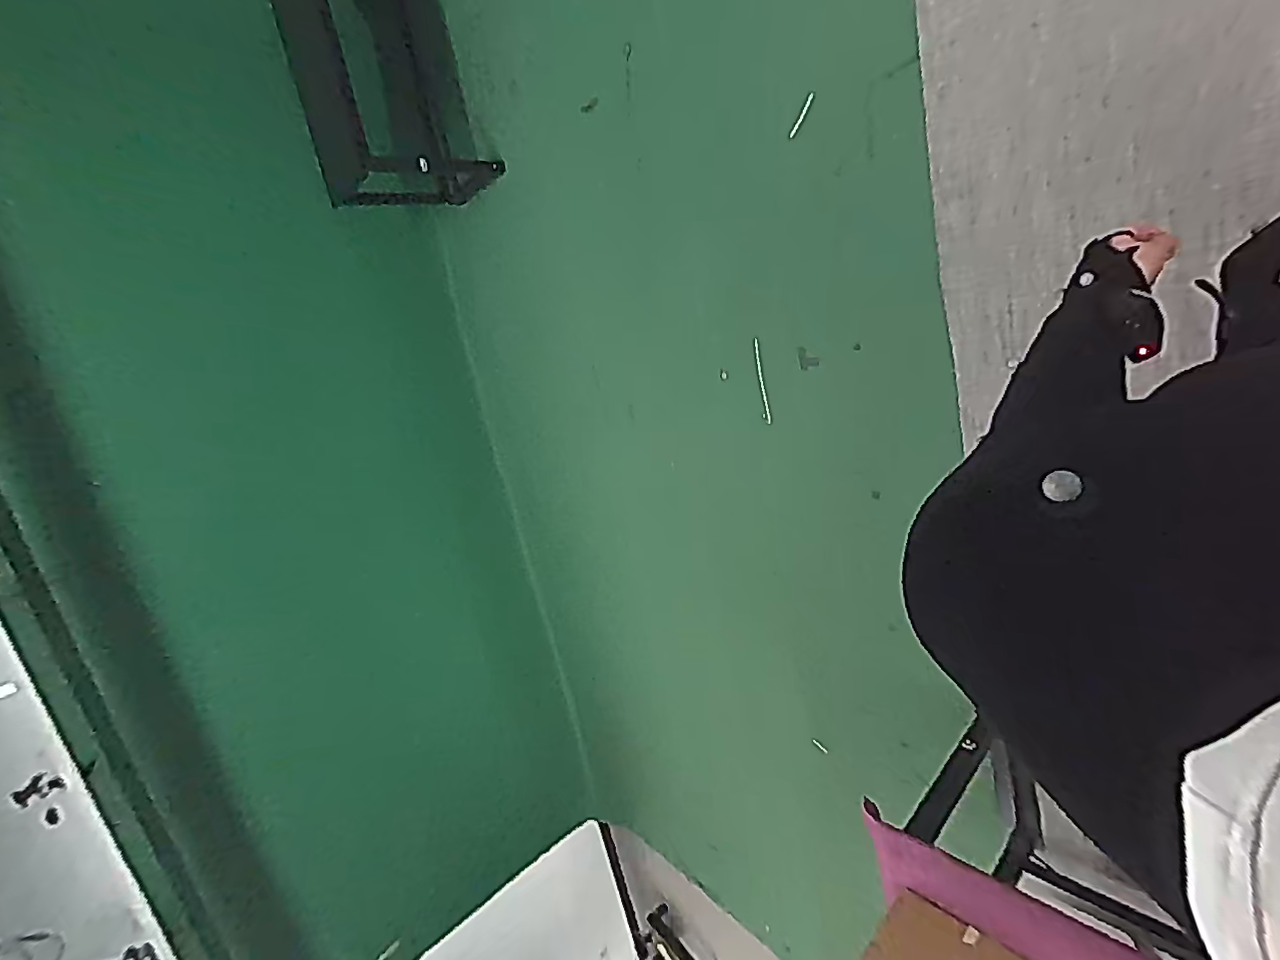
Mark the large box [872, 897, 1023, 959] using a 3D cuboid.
[{"bbox_3d":[0.646,1.181,1.067,0.320,0.320,0.408,1,108,50],"label":"large box"}]
